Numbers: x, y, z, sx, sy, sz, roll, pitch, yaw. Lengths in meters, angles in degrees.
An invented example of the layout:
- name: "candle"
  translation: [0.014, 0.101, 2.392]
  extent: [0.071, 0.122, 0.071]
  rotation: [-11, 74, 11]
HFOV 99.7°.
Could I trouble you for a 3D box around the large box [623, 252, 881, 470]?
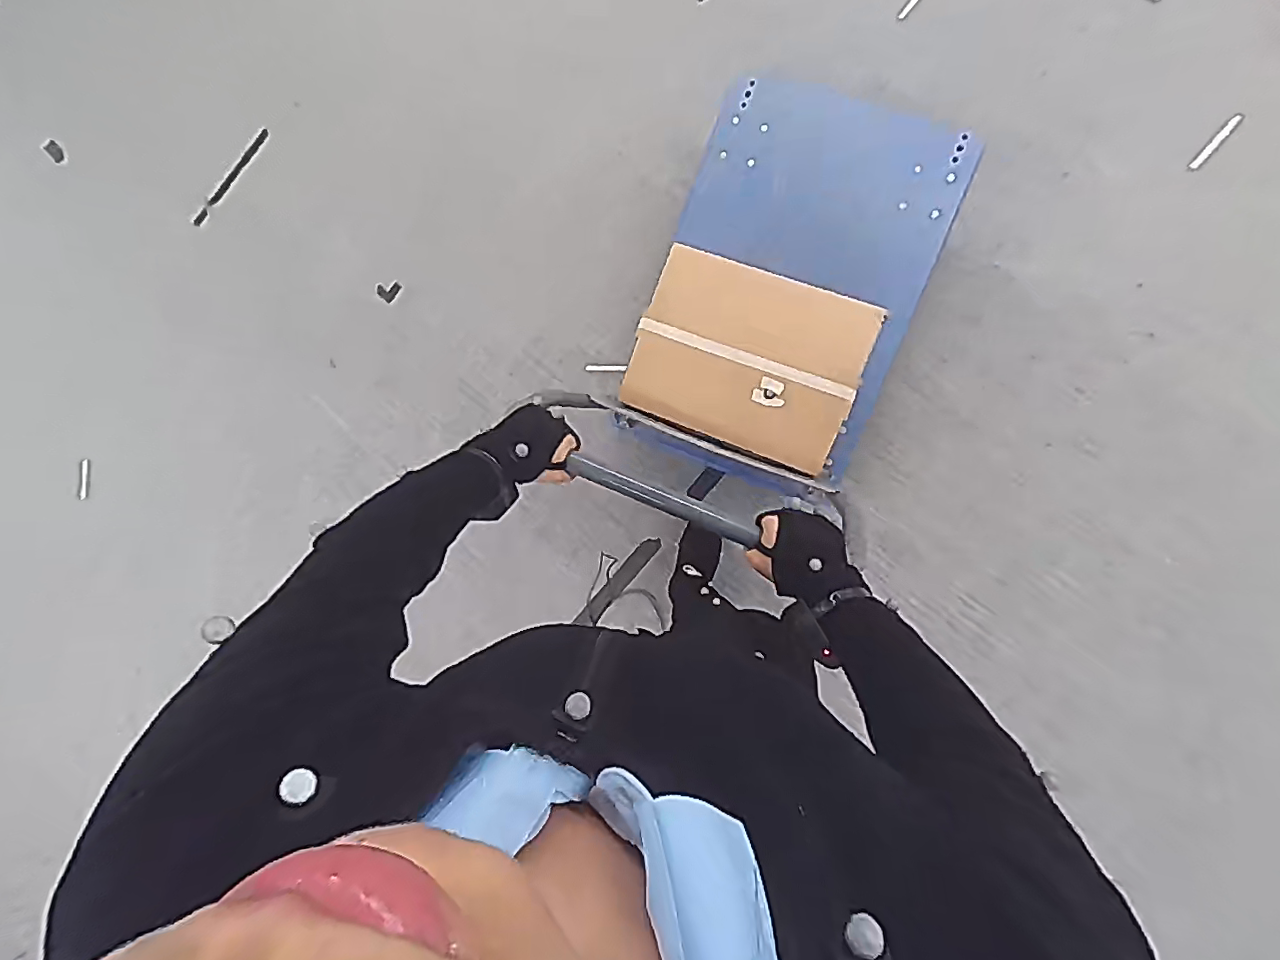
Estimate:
- name: "large box"
  translation: [0.223, -0.232, 1.149]
  extent: [0.408, 0.320, 0.320]
  rotation: [21, 98, 10]
